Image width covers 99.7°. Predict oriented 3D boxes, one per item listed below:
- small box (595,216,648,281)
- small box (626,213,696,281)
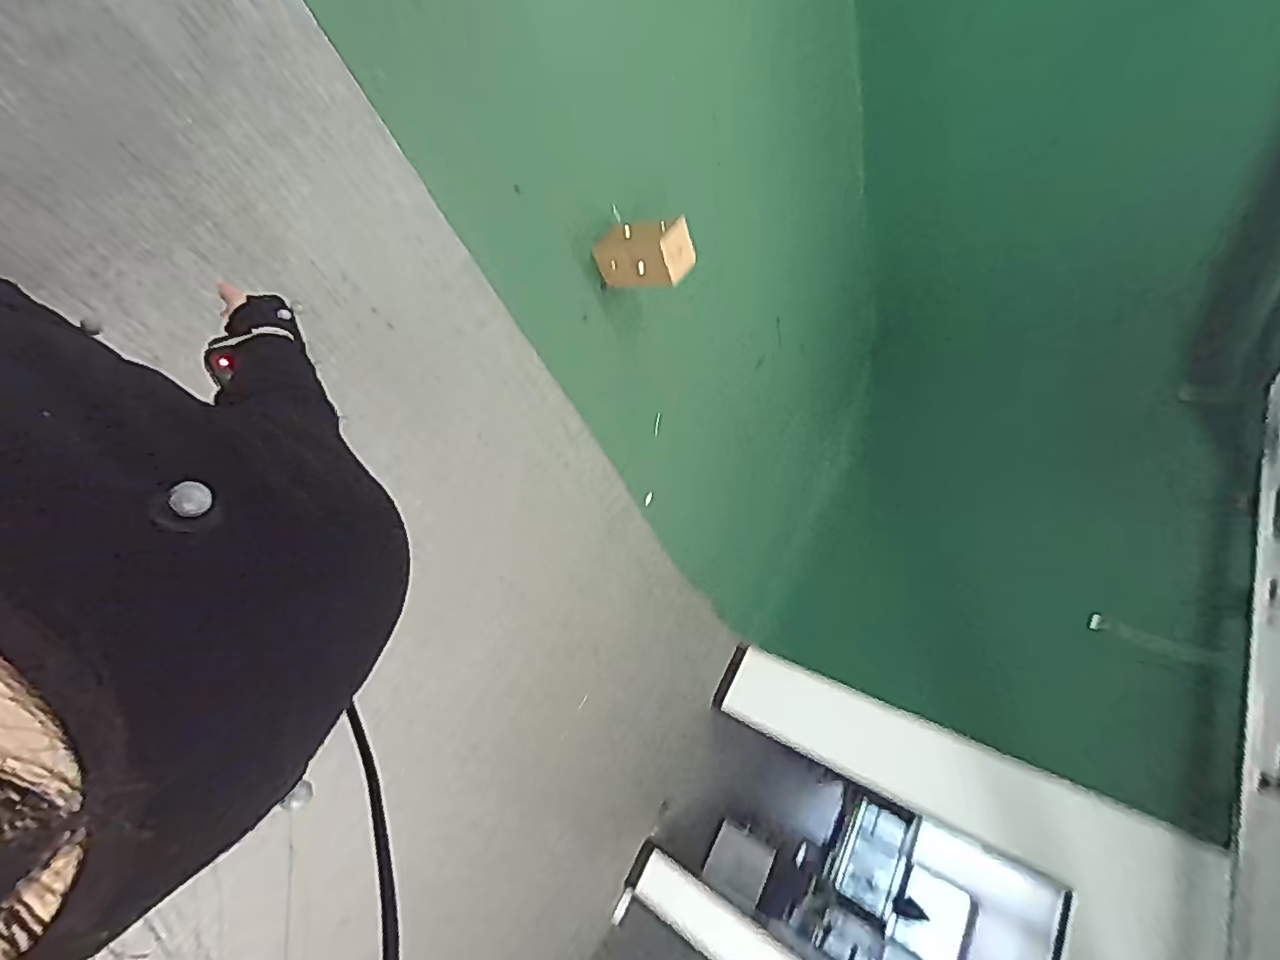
[{"bbox_3d":[-0.051,-0.884,2.076,0.179,0.176,0.168,-57,140,-24],"label":"small box"},{"bbox_3d":[0.077,-0.850,1.976,0.179,0.176,0.168,-54,139,-25],"label":"small box"}]
